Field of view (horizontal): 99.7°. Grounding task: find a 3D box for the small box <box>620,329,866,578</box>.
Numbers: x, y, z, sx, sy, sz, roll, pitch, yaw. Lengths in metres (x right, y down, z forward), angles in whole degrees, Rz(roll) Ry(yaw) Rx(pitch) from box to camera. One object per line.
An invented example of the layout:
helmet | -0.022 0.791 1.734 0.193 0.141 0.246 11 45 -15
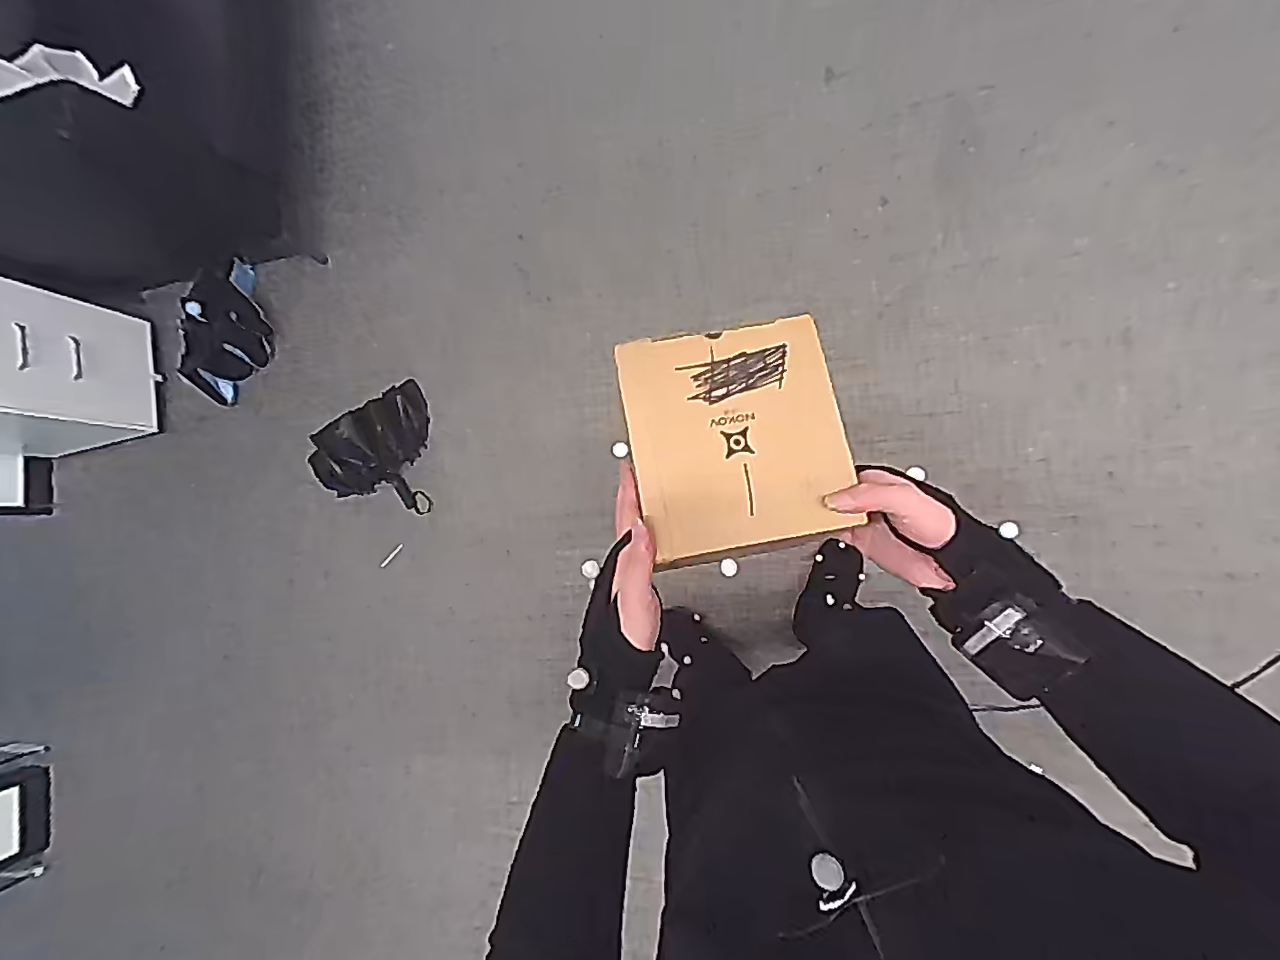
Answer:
small box | 0.076 -0.011 0.496 0.168 0.176 0.179 -10 79 -1
